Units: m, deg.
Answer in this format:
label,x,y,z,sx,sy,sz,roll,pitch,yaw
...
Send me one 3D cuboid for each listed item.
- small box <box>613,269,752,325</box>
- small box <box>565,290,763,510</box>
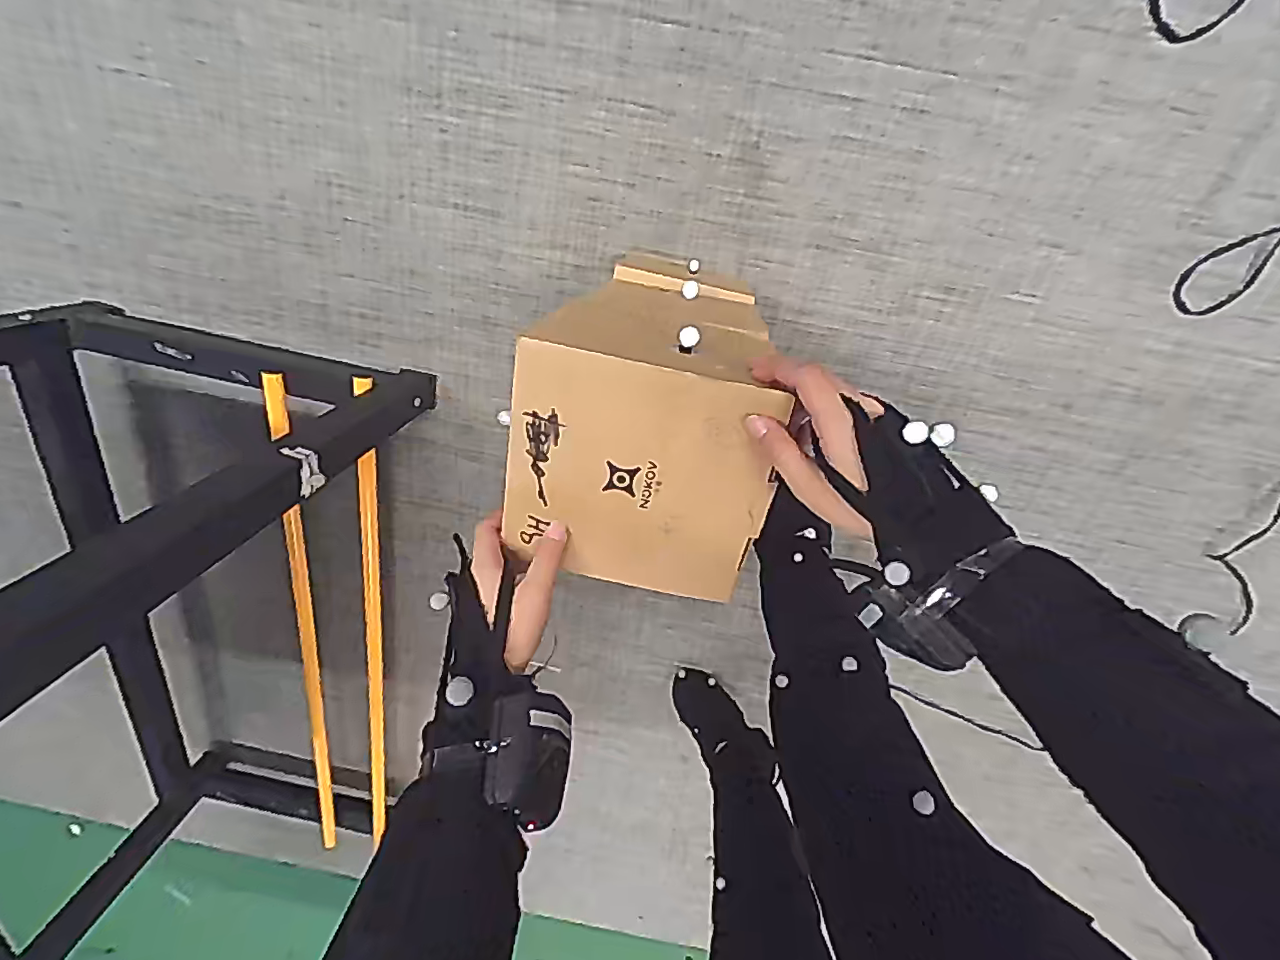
label,x,y,z,sx,sy,sz,roll,pitch,yaw
small box,0.040,-0.176,0.726,0.168,0.176,0.179,14,115,1
small box,0.025,-0.095,0.585,0.168,0.176,0.179,11,115,1
